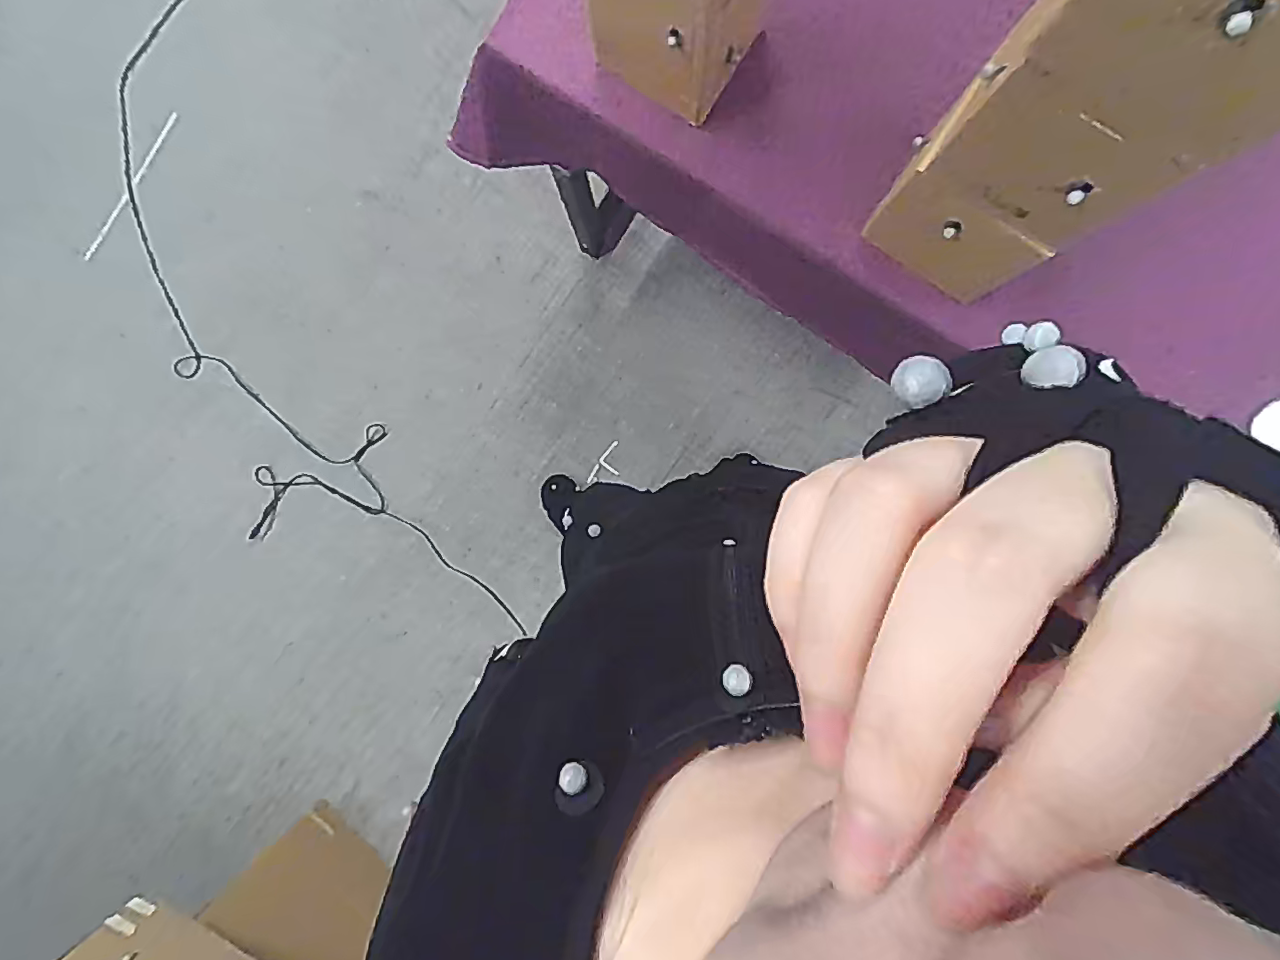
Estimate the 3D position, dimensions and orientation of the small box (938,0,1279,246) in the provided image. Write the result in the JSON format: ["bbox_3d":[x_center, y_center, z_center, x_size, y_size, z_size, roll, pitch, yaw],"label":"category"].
[{"bbox_3d":[0.415,-0.353,0.496,0.168,0.176,0.179,33,91,0],"label":"small box"}]

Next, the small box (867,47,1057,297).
[{"bbox_3d":[0.415,-0.353,0.660,0.179,0.176,0.168,35,93,0],"label":"small box"}]

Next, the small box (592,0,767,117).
[{"bbox_3d":[0.050,-0.599,0.663,0.179,0.176,0.168,33,92,-1],"label":"small box"}]
